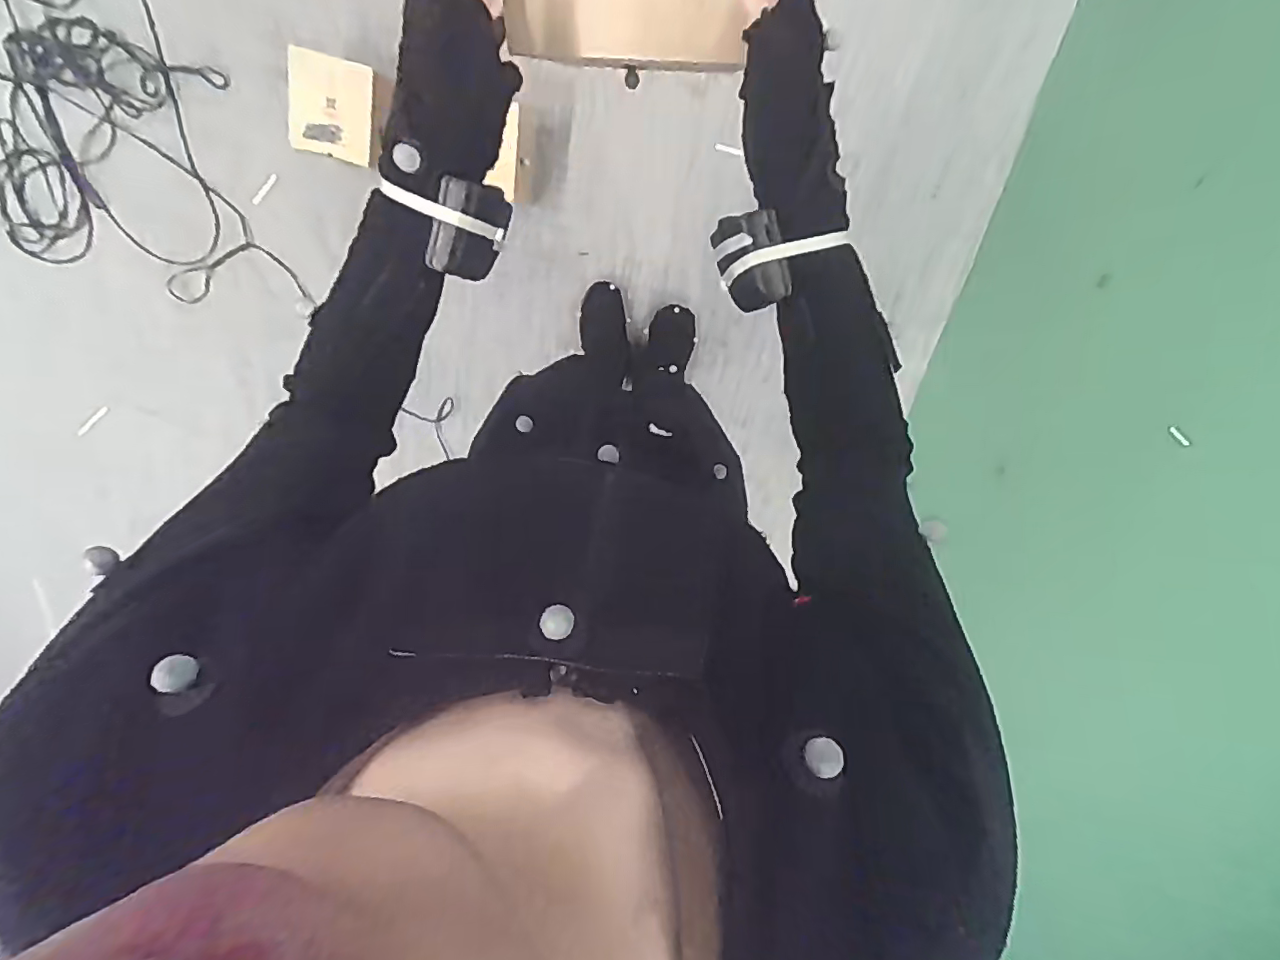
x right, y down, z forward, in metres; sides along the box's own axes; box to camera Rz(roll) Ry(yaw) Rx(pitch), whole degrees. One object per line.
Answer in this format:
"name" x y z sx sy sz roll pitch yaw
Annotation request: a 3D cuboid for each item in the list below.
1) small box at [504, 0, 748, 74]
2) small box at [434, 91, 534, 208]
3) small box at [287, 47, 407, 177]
"small box" 0.002 -0.404 0.385 0.168 0.176 0.179 6 125 3
"small box" -0.328 -0.697 1.159 0.168 0.176 0.179 10 114 -1
"small box" -0.611 -0.762 1.143 0.168 0.176 0.179 14 112 -3
